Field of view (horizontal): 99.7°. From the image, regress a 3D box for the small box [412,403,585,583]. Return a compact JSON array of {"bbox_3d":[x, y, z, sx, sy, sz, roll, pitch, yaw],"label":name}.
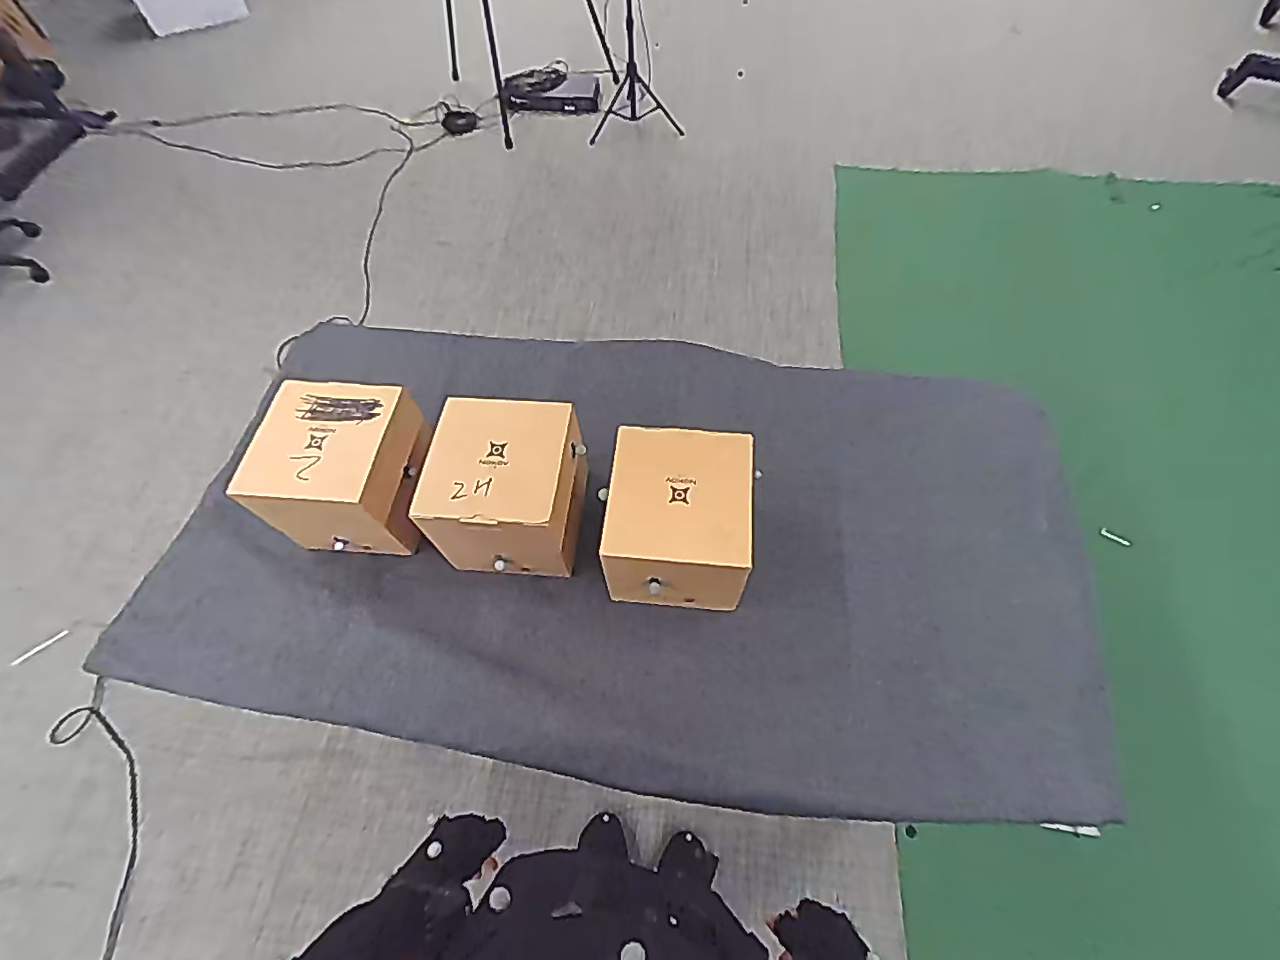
[{"bbox_3d":[-0.170,0.021,0.720,0.168,0.176,0.179,4,60,4],"label":"small box"}]
